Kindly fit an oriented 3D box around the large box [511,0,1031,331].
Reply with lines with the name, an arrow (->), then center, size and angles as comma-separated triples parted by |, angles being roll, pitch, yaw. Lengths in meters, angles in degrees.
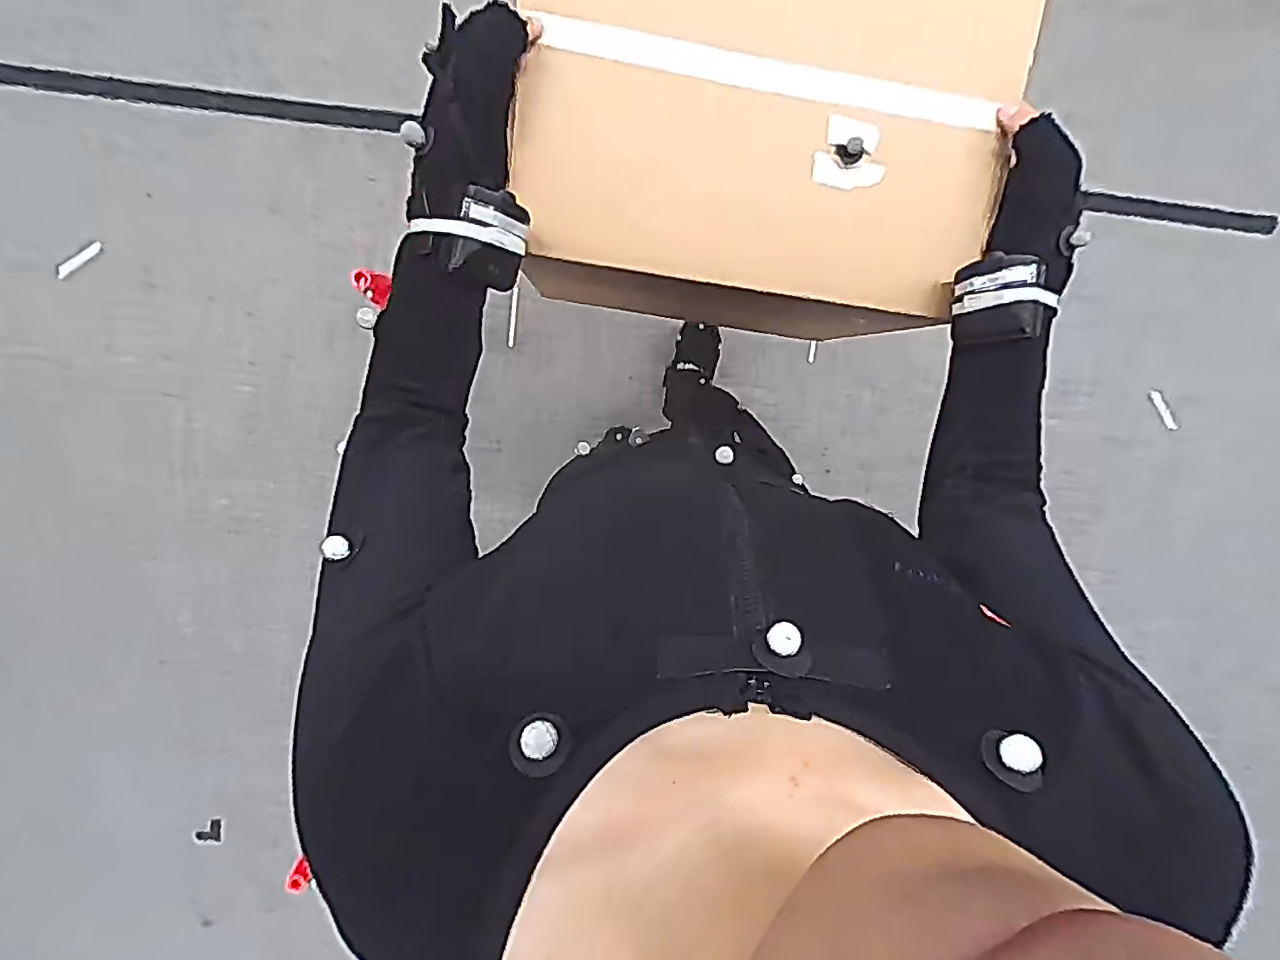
large box -> 0.093, -0.350, 0.574 | 0.408, 0.320, 0.320 | 6, 101, -7
